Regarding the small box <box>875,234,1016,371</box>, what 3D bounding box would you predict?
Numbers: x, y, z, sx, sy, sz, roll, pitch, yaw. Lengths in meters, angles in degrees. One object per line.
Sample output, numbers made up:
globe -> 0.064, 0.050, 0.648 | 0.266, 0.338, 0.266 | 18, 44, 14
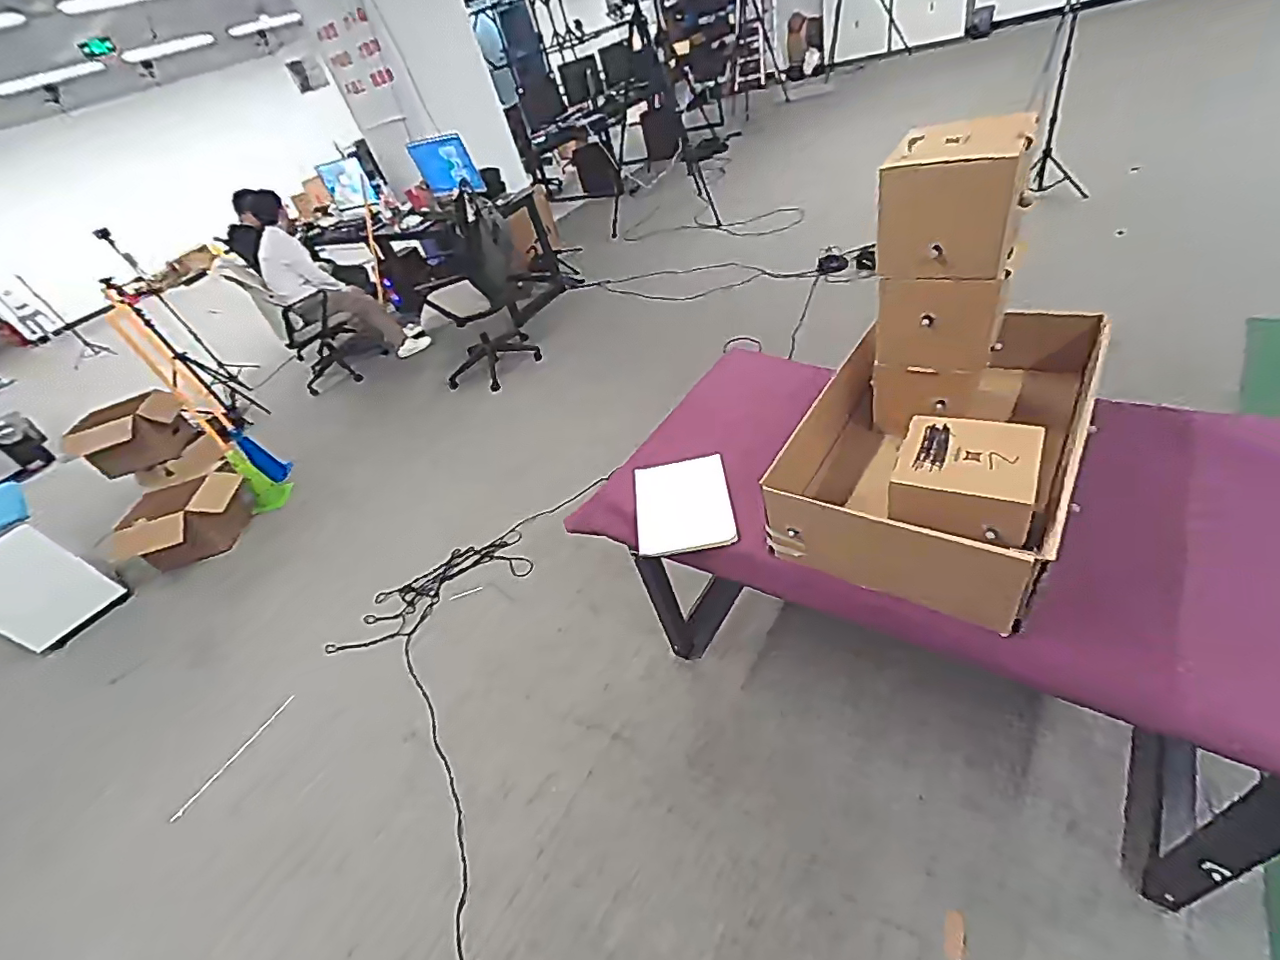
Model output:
small box -> 0.522, -0.306, 0.938 | 0.179, 0.176, 0.168 | 14, 51, 33

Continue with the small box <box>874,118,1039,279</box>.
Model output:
small box -> 0.478, -0.426, 0.834 | 0.179, 0.176, 0.168 | 17, 52, 34
